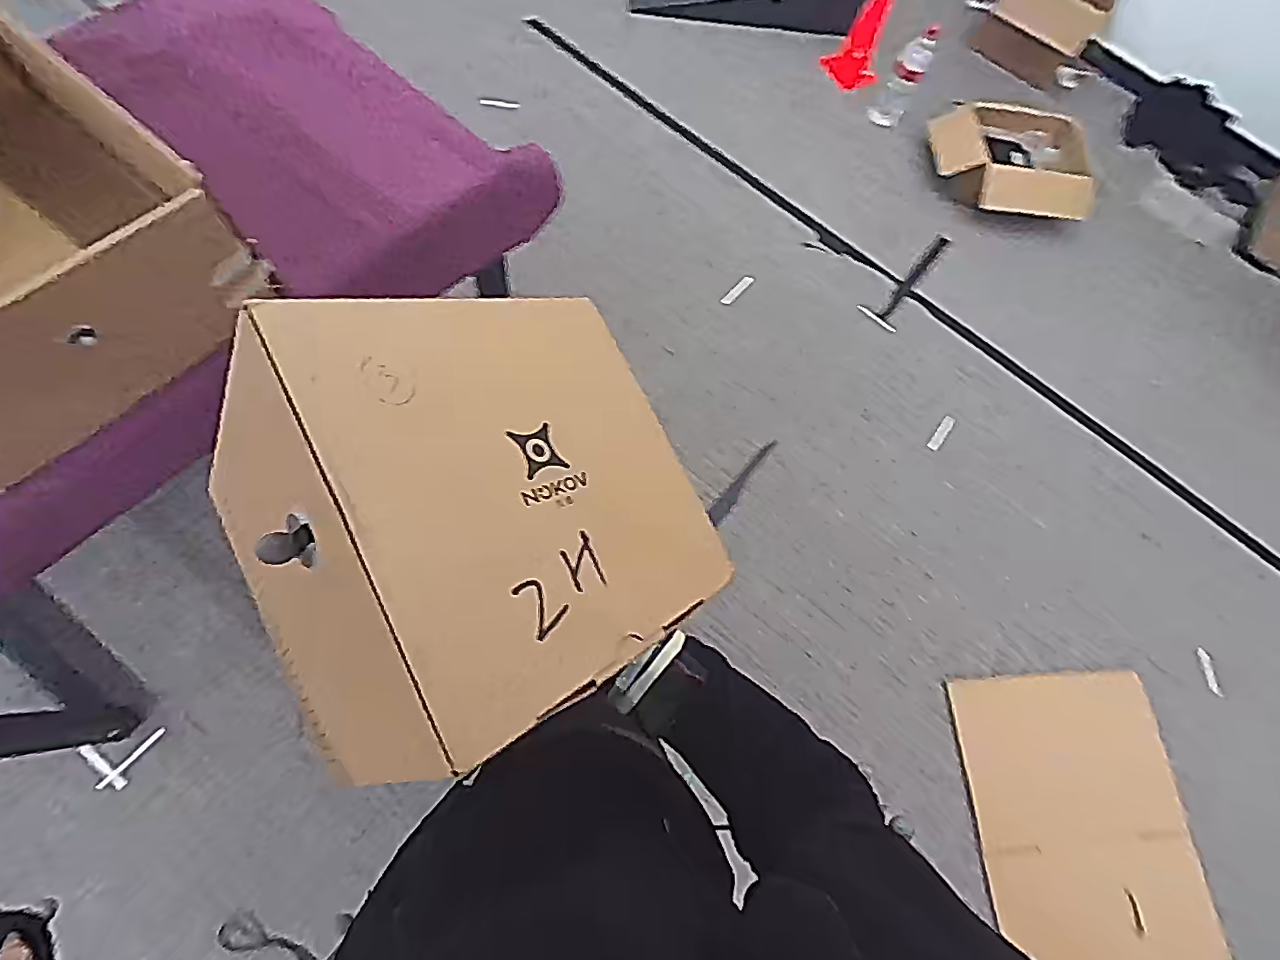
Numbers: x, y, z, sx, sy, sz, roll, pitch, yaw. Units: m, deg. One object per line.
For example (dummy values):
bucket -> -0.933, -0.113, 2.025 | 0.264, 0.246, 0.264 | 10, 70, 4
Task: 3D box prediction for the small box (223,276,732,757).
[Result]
small box -> -0.092, 0.020, 0.286 | 0.168, 0.176, 0.179 | -21, 81, -45
